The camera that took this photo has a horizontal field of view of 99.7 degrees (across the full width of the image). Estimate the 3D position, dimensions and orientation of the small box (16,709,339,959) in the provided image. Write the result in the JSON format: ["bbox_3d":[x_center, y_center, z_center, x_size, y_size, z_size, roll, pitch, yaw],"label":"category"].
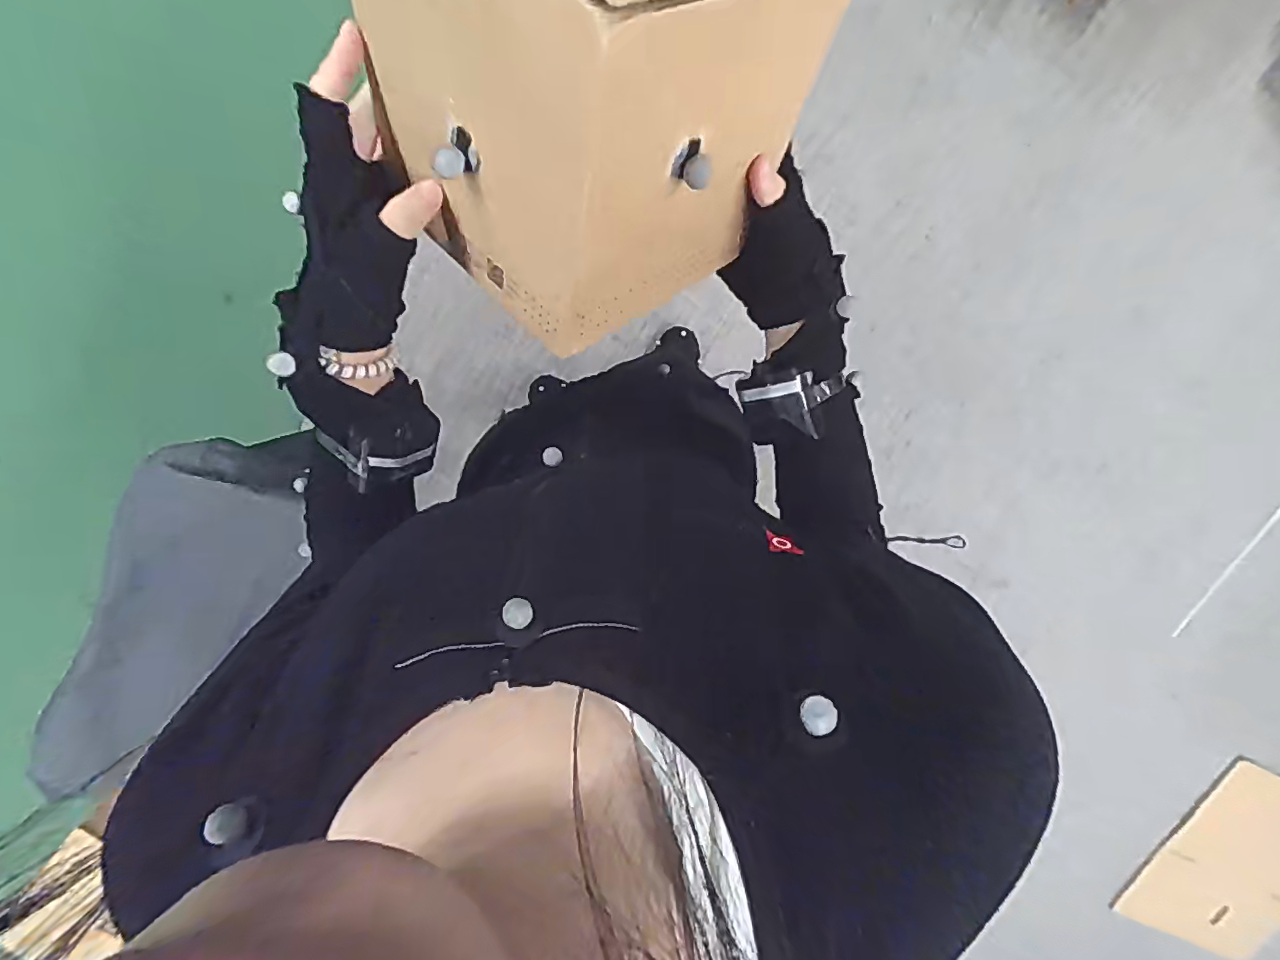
[{"bbox_3d":[-0.480,0.395,0.595,0.179,0.176,0.168,40,99,-9],"label":"small box"}]
